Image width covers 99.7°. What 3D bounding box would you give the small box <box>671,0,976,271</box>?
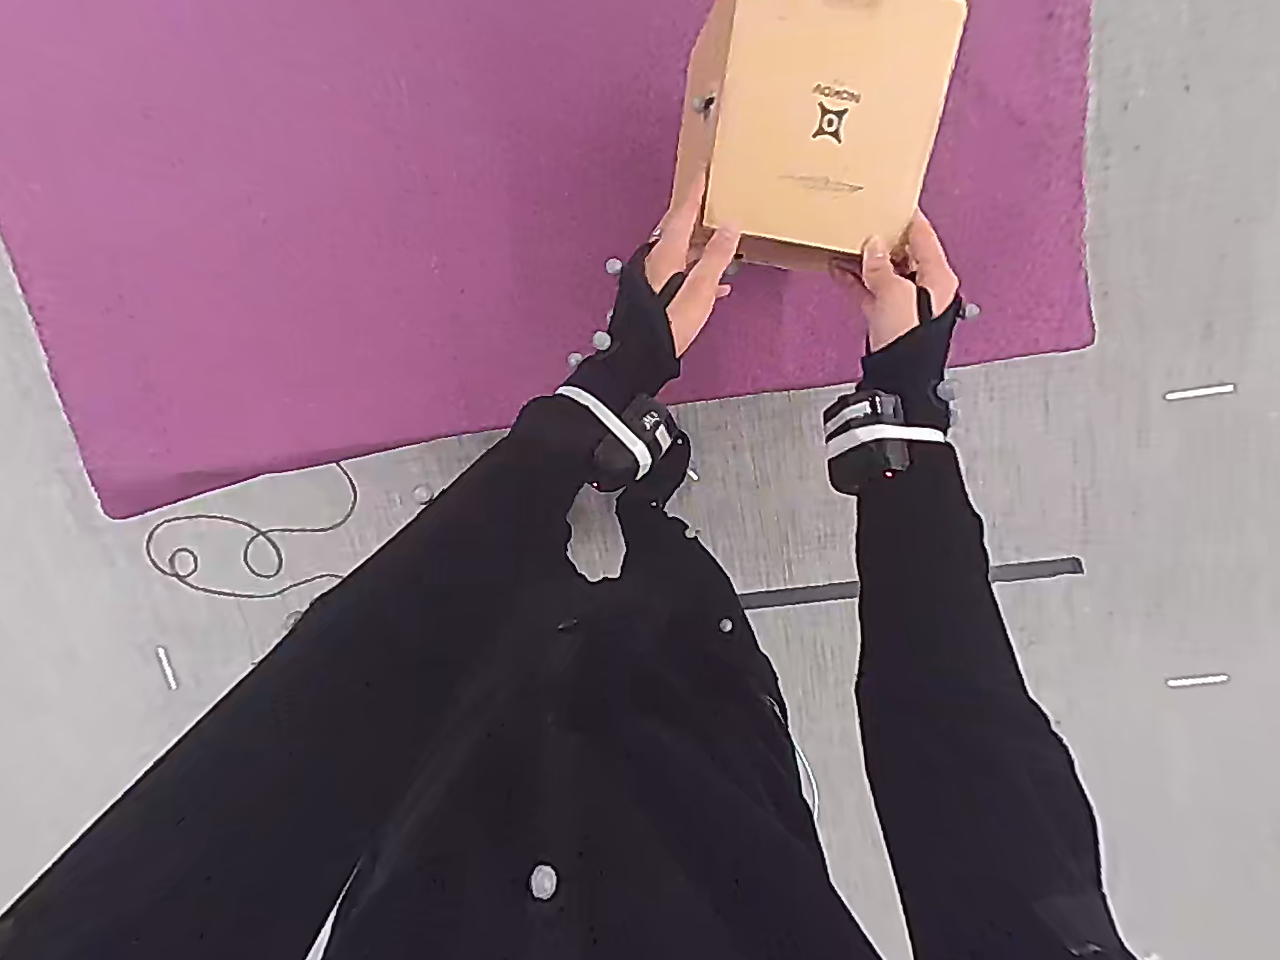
[{"bbox_3d":[0.128,-0.285,0.455,0.168,0.176,0.179,7,107,-9],"label":"small box"}]
